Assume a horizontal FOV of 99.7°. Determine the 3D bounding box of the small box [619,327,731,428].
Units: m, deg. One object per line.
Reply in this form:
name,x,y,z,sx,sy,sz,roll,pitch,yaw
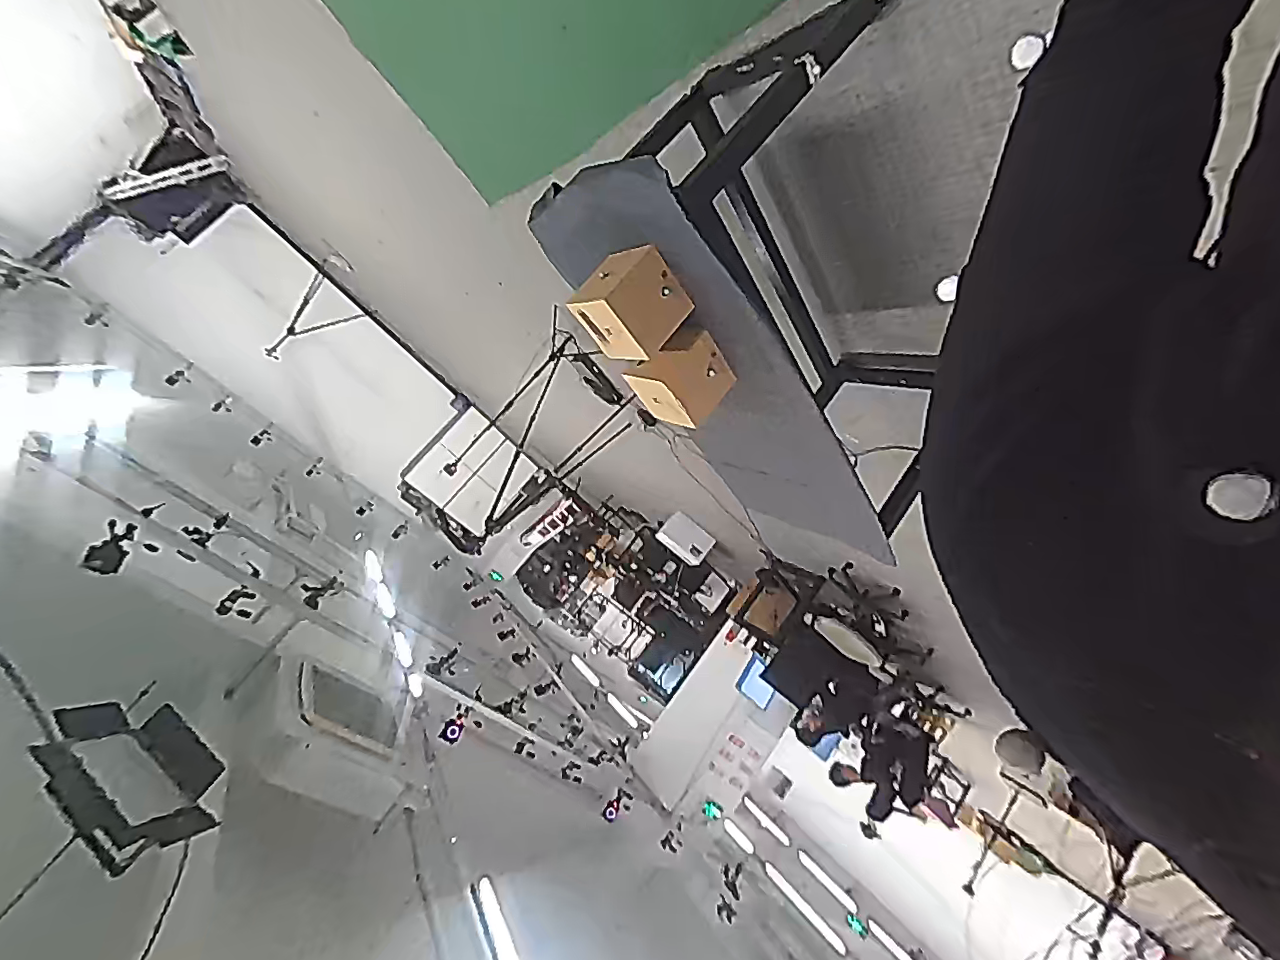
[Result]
small box,0.089,-0.256,1.325,0.179,0.176,0.168,23,161,50
